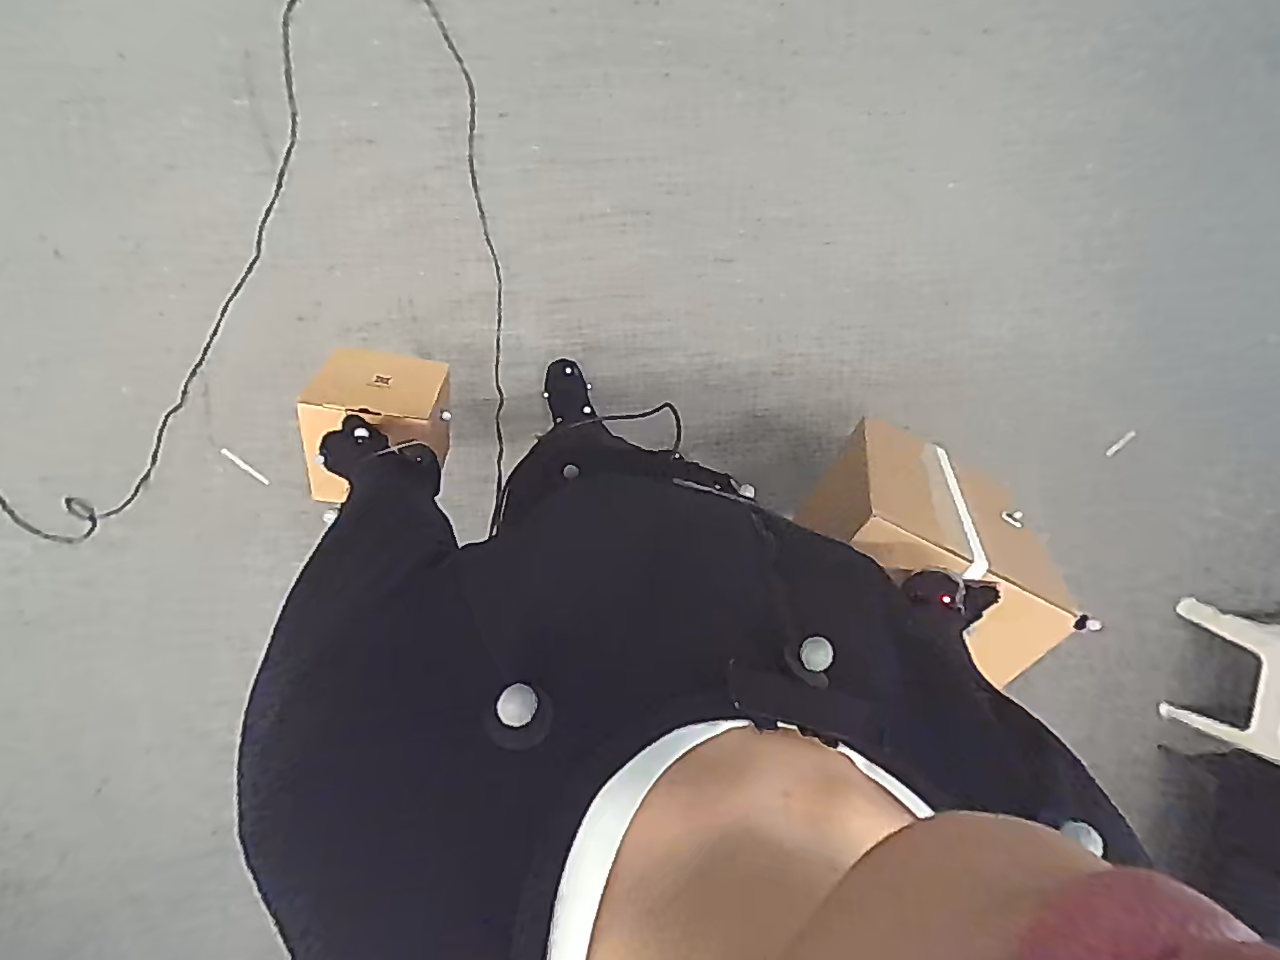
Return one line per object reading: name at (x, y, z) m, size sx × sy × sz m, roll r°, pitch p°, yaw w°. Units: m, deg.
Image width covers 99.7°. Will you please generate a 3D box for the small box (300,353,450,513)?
small box at (-0.396, -0.073, 0.839) m, size 0.168 × 0.179 × 0.176 m, roll 6°, pitch 127°, yaw -12°
